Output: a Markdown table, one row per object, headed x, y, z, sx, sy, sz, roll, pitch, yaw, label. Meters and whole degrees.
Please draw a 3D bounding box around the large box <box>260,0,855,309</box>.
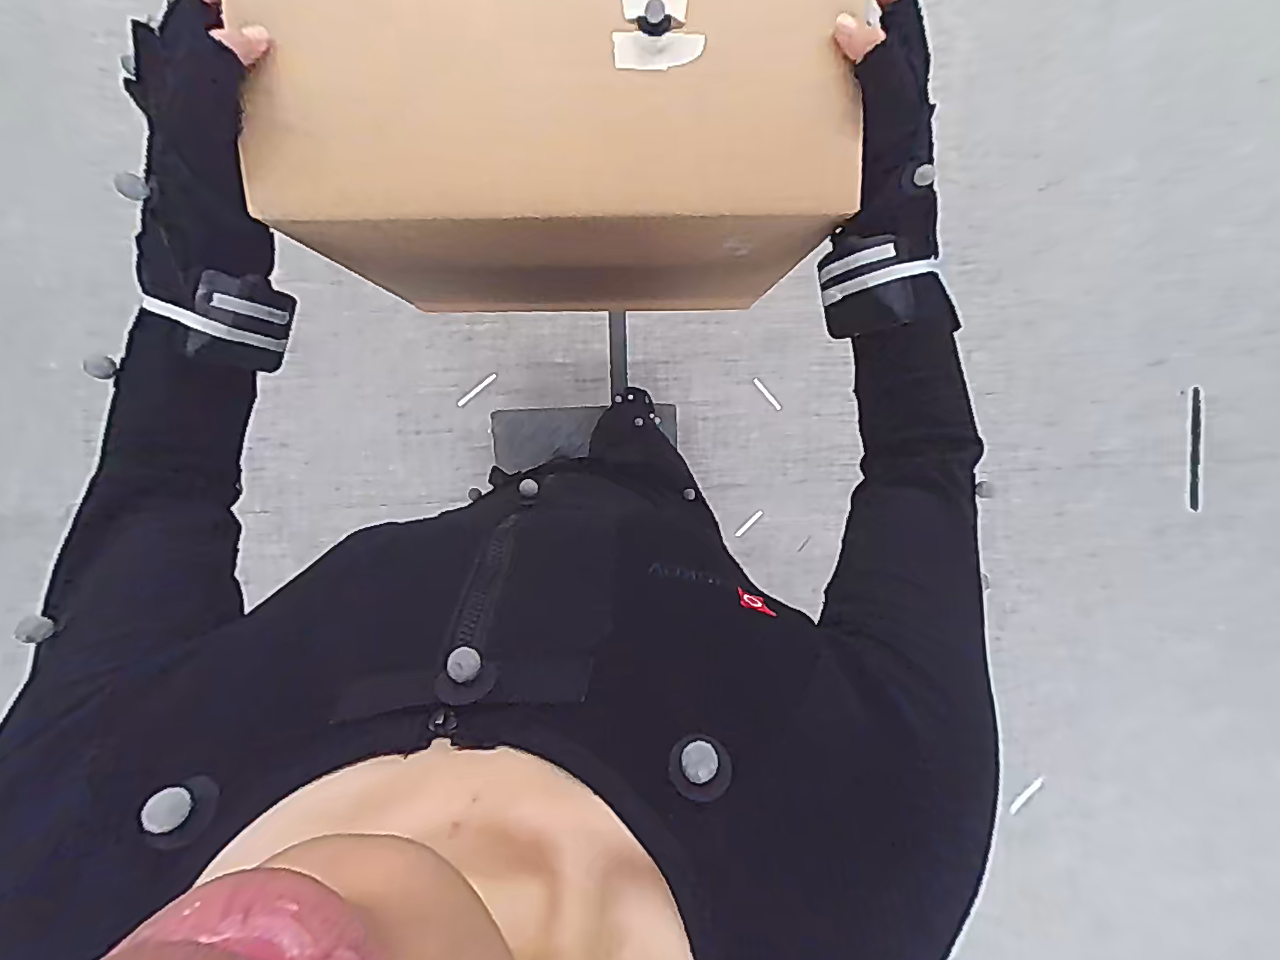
| x | y | z | sx | sy | sz | roll | pitch | yaw | label |
| --- | --- | --- | --- | --- | --- | --- | --- | --- | --- |
| -0.059 | -0.356 | 0.508 | 0.408 | 0.320 | 0.320 | -2 | 96 | -2 | large box |
